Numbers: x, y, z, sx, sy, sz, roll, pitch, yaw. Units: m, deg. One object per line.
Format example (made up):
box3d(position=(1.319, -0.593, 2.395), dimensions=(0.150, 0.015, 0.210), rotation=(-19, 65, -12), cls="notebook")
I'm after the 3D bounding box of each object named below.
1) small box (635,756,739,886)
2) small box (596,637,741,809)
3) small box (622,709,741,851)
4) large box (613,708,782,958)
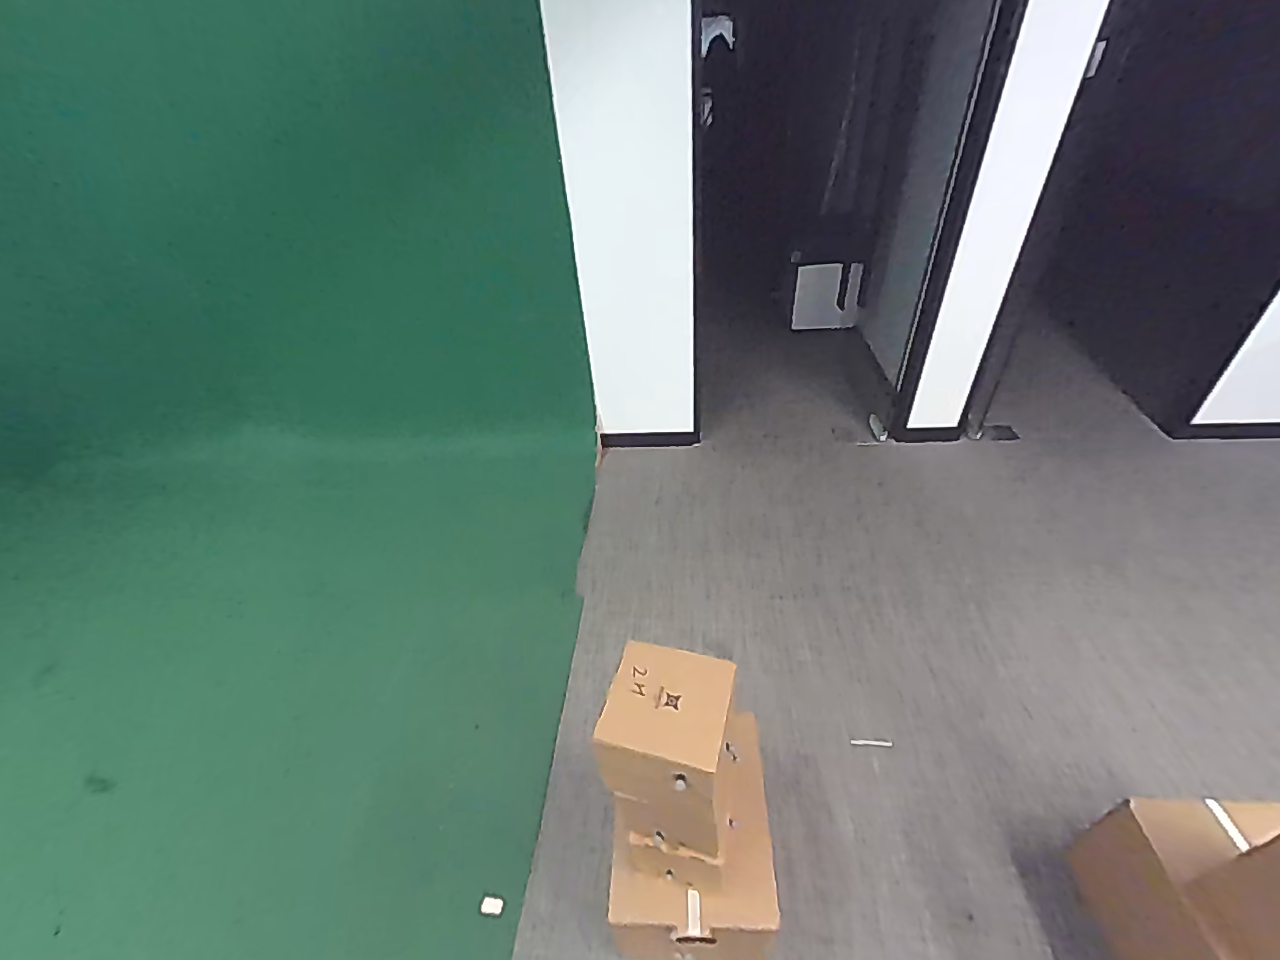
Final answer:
box3d(position=(0.095, 0.629, 1.029), dimensions=(0.168, 0.176, 0.179), rotation=(5, 41, 14), cls="small box")
box3d(position=(0.052, 0.373, 0.829), dimensions=(0.179, 0.176, 0.168), rotation=(7, 41, 17), cls="small box")
box3d(position=(0.076, 0.497, 0.935), dimensions=(0.168, 0.176, 0.179), rotation=(7, 42, 17), cls="small box")
box3d(position=(0.123, 0.785, 1.220), dimensions=(0.320, 0.320, 0.408), rotation=(-2, 38, 5), cls="large box")
